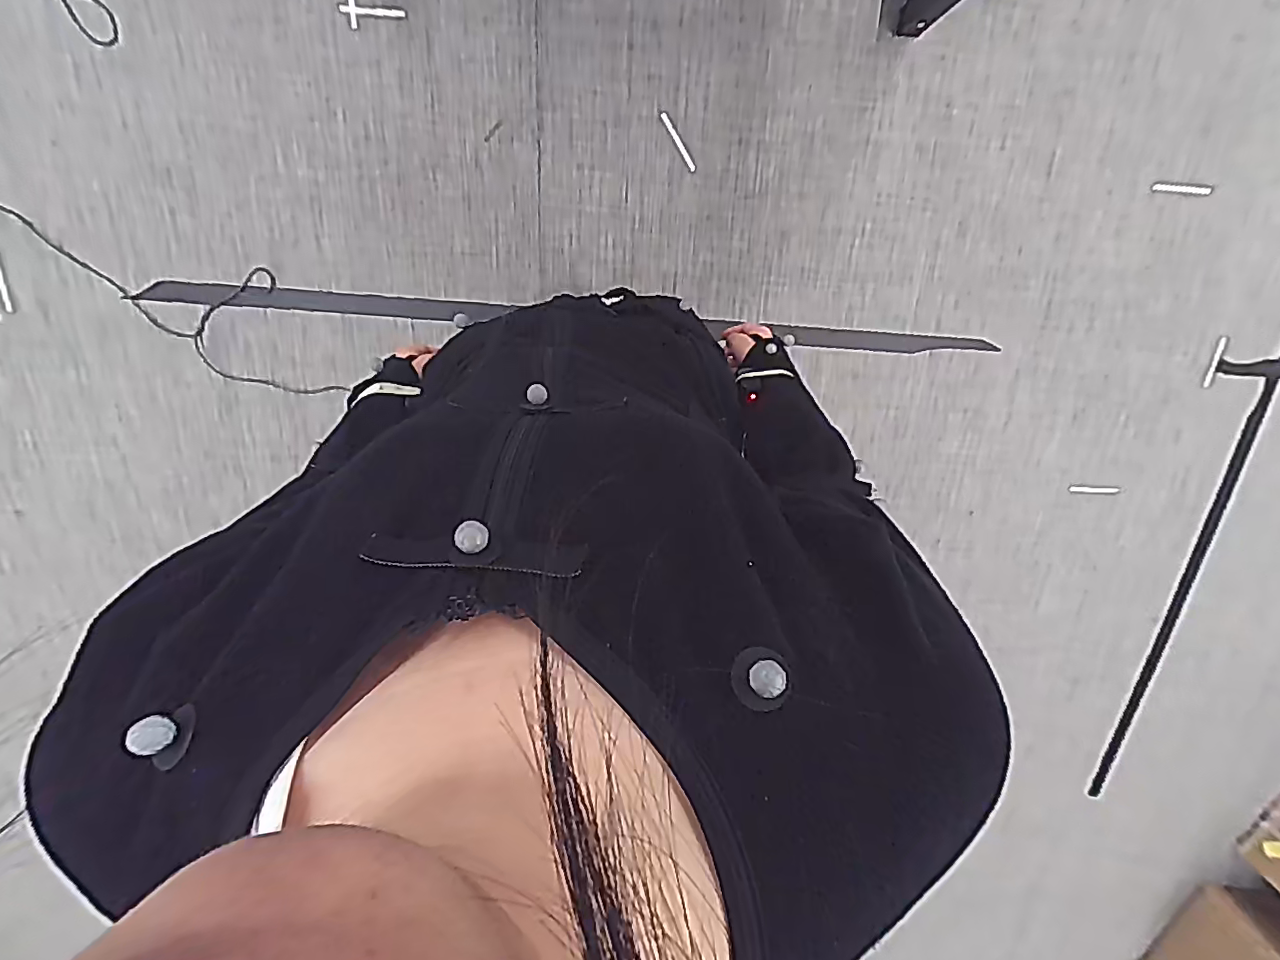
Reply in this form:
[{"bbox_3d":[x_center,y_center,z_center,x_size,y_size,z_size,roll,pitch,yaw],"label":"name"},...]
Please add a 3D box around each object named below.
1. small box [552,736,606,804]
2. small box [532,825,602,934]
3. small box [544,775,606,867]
[{"bbox_3d":[-0.196,0.957,1.761,0.168,0.176,0.179,-2,109,-2],"label":"small box"},{"bbox_3d":[-0.189,1.067,1.451,0.168,0.176,0.179,-3,109,-2],"label":"small box"},{"bbox_3d":[-0.187,1.014,1.607,0.168,0.176,0.179,-3,110,-2],"label":"small box"}]
